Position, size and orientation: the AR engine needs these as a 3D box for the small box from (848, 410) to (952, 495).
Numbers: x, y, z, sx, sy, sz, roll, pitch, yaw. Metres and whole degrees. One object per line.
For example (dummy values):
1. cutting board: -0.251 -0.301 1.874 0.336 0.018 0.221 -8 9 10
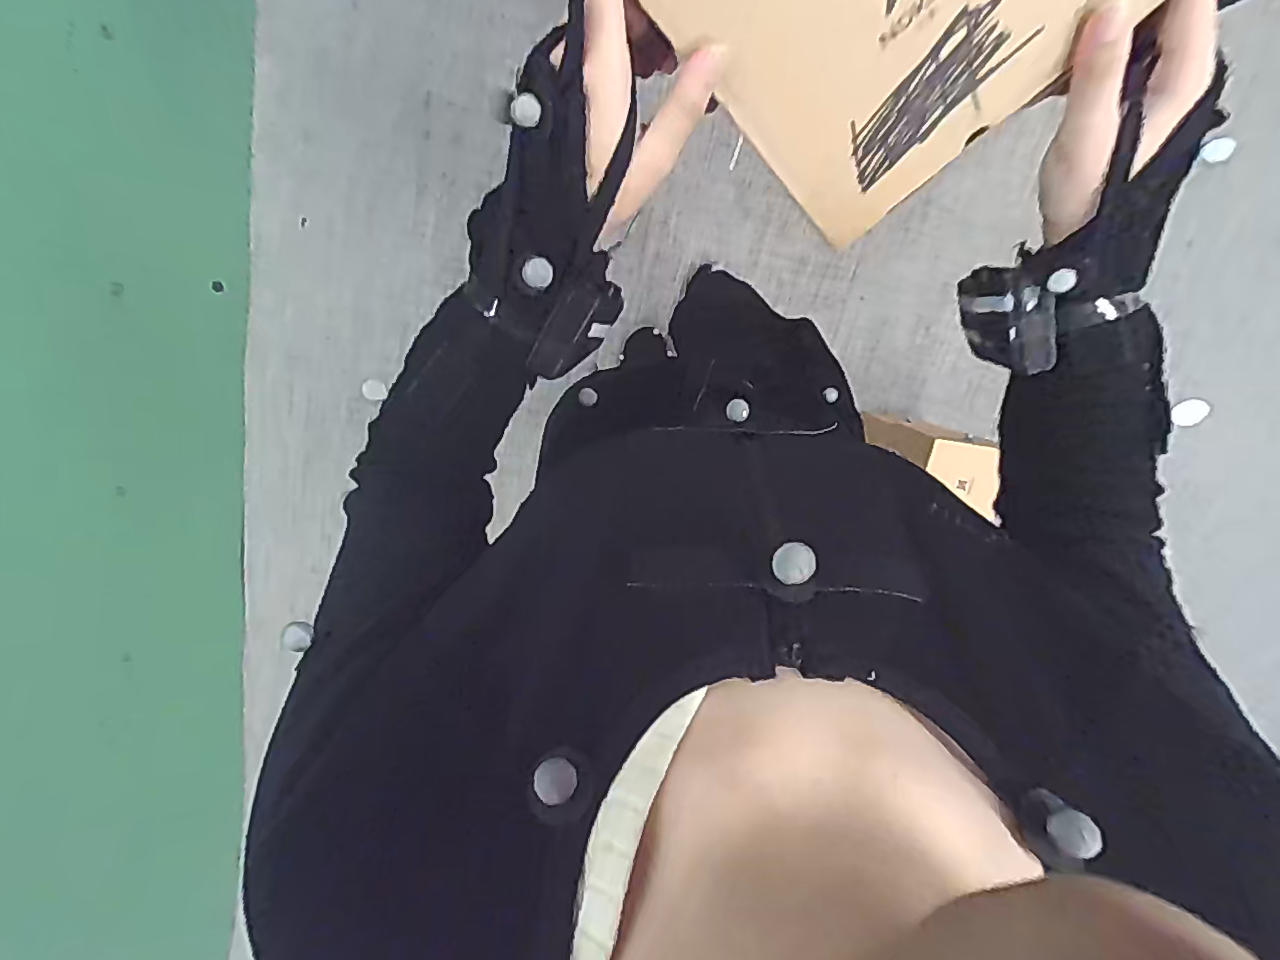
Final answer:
1. small box: 0.622 -0.064 1.294 0.168 0.176 0.179 8 107 -4

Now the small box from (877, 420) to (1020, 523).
1. small box: 0.634 -0.023 1.135 0.179 0.176 0.168 8 106 -3

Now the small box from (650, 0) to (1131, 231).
1. small box: 0.109 -0.282 0.280 0.179 0.176 0.168 30 131 -33
